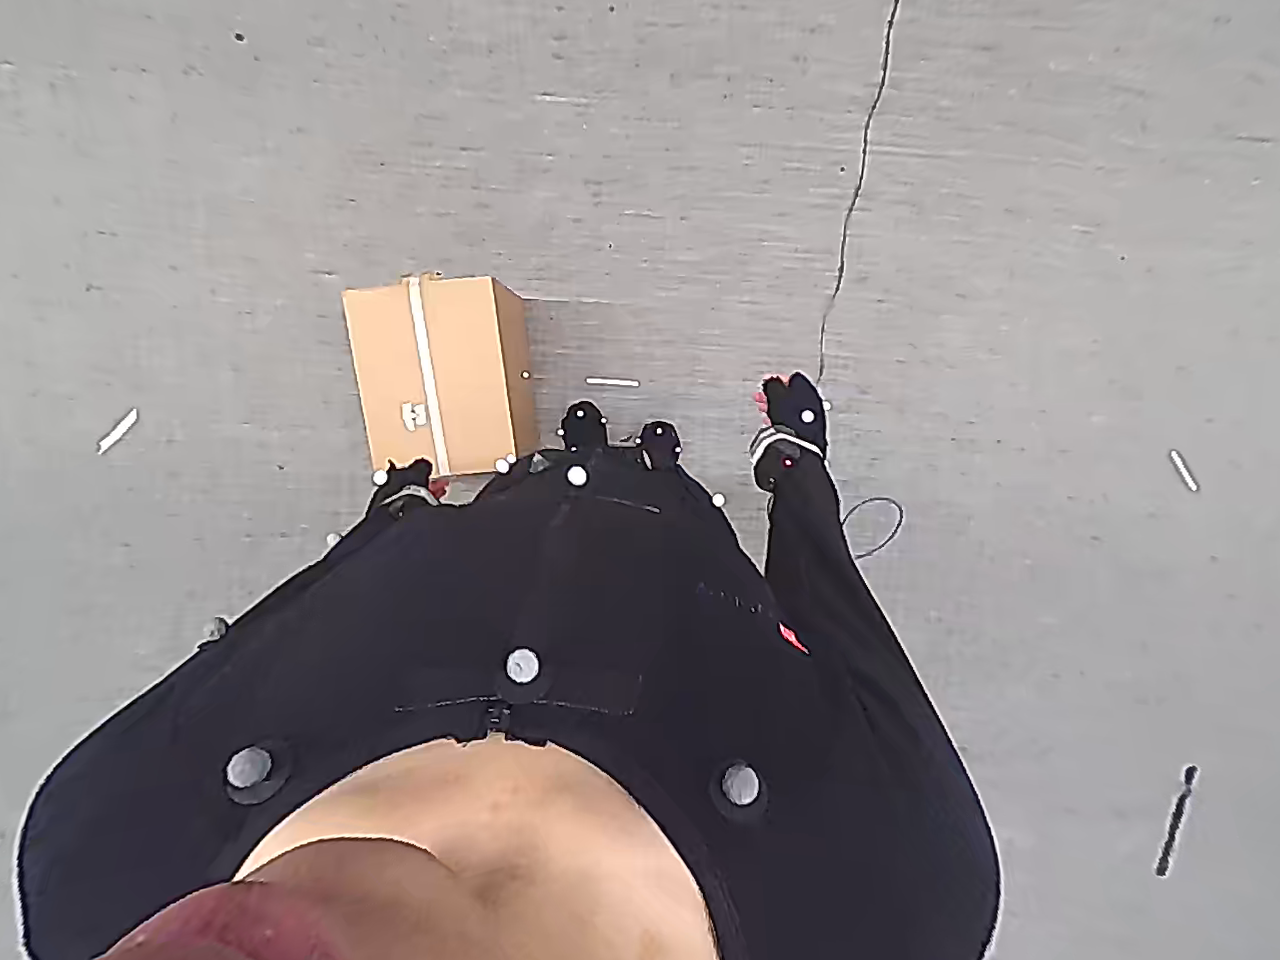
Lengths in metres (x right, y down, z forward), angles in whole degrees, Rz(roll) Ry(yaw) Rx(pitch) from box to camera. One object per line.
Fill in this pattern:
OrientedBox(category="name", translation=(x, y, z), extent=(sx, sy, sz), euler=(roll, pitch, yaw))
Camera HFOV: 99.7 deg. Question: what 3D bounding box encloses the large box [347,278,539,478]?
OrientedBox(category="large box", translation=(-0.442, -0.242, 1.307), extent=(0.320, 0.320, 0.408), euler=(-5, 101, 1))
